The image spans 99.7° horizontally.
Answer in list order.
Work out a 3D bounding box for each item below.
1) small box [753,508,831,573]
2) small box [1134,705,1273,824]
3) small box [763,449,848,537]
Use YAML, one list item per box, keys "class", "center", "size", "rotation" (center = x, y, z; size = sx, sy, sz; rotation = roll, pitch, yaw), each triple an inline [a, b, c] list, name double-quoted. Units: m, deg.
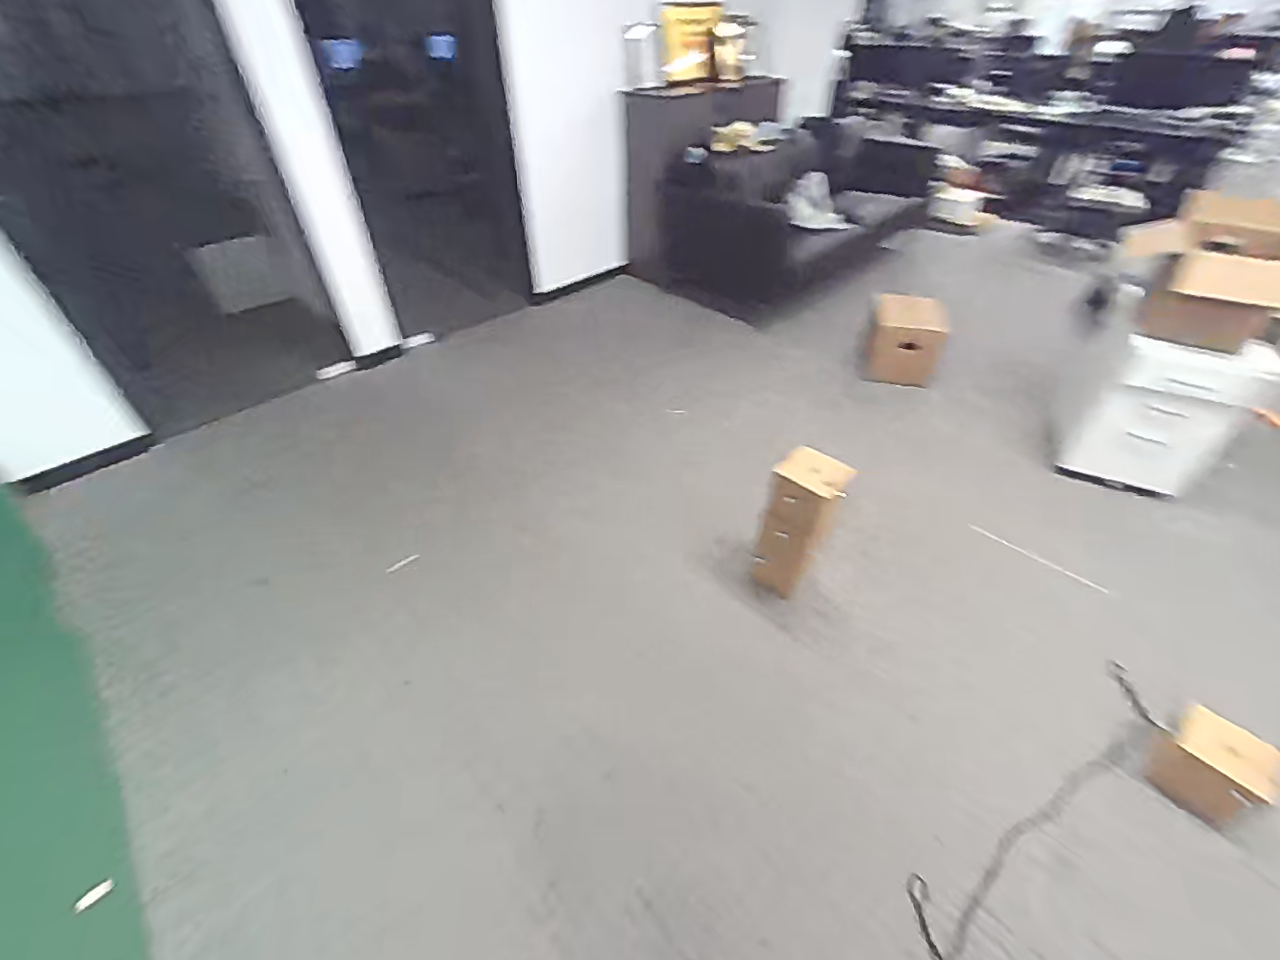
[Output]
- class: "small box"
  center: [0.483, 0.165, 1.739]
  size: [0.179, 0.176, 0.168]
  rotation: [32, 51, 30]
- class: "small box"
  center: [1.399, 0.713, 1.352]
  size: [0.168, 0.176, 0.179]
  rotation: [-32, 51, -31]
- class: "small box"
  center: [0.493, 0.041, 1.632]
  size: [0.179, 0.176, 0.168]
  rotation: [31, 51, 31]
